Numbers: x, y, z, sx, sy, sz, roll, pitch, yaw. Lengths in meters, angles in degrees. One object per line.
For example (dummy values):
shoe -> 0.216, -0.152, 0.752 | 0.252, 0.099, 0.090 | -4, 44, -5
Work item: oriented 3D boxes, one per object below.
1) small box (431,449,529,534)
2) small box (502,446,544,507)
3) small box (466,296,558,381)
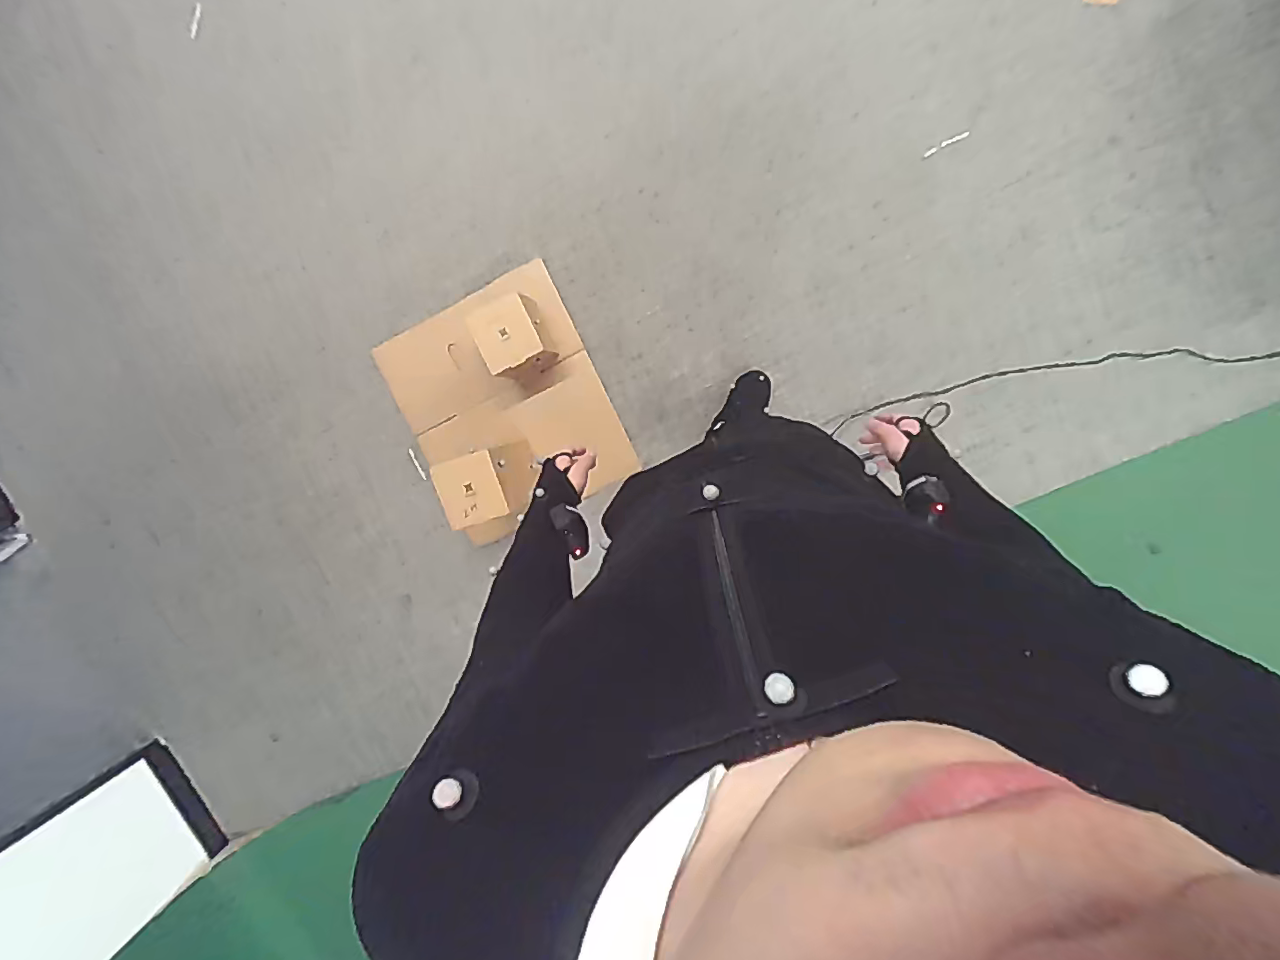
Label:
small box -> -0.413, 0.023, 1.427 | 0.168, 0.176, 0.179 | -17, 97, 9
small box -> -0.402, 0.002, 1.592 | 0.168, 0.176, 0.179 | -17, 97, 8
small box -> -0.352, -0.394, 1.525 | 0.168, 0.176, 0.179 | -24, 96, 9
